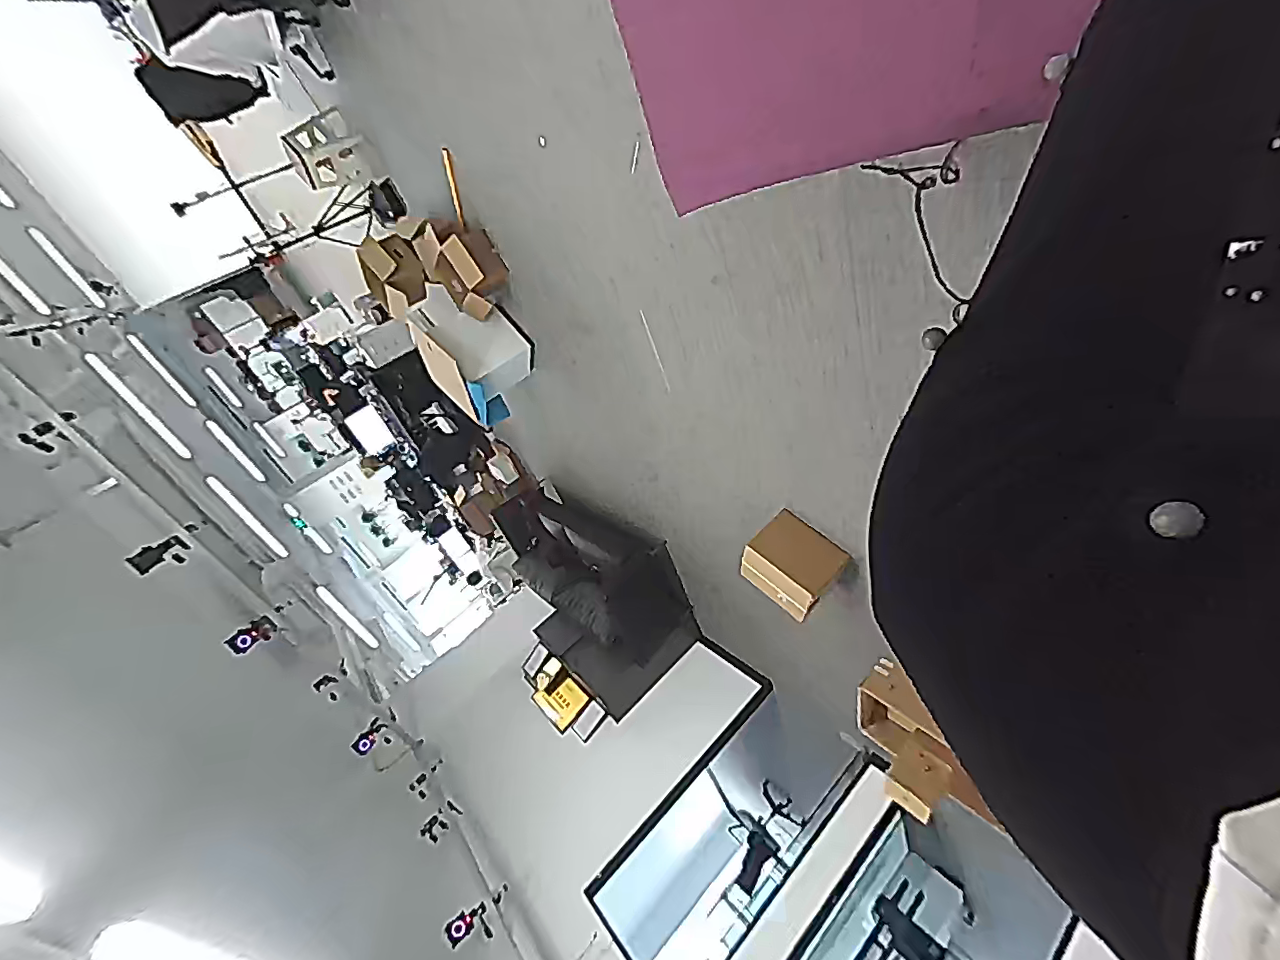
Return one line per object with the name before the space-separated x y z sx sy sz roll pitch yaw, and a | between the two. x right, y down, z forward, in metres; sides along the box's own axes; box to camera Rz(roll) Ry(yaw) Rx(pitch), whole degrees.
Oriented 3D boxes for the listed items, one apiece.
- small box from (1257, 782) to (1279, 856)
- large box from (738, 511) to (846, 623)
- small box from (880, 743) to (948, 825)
small box | 1.552 0.796 1.190 0.179 0.176 0.168 45 157 14
large box | 0.763 0.436 2.755 0.408 0.320 0.320 37 154 28
small box | 1.011 1.119 1.994 0.168 0.176 0.179 28 147 41
